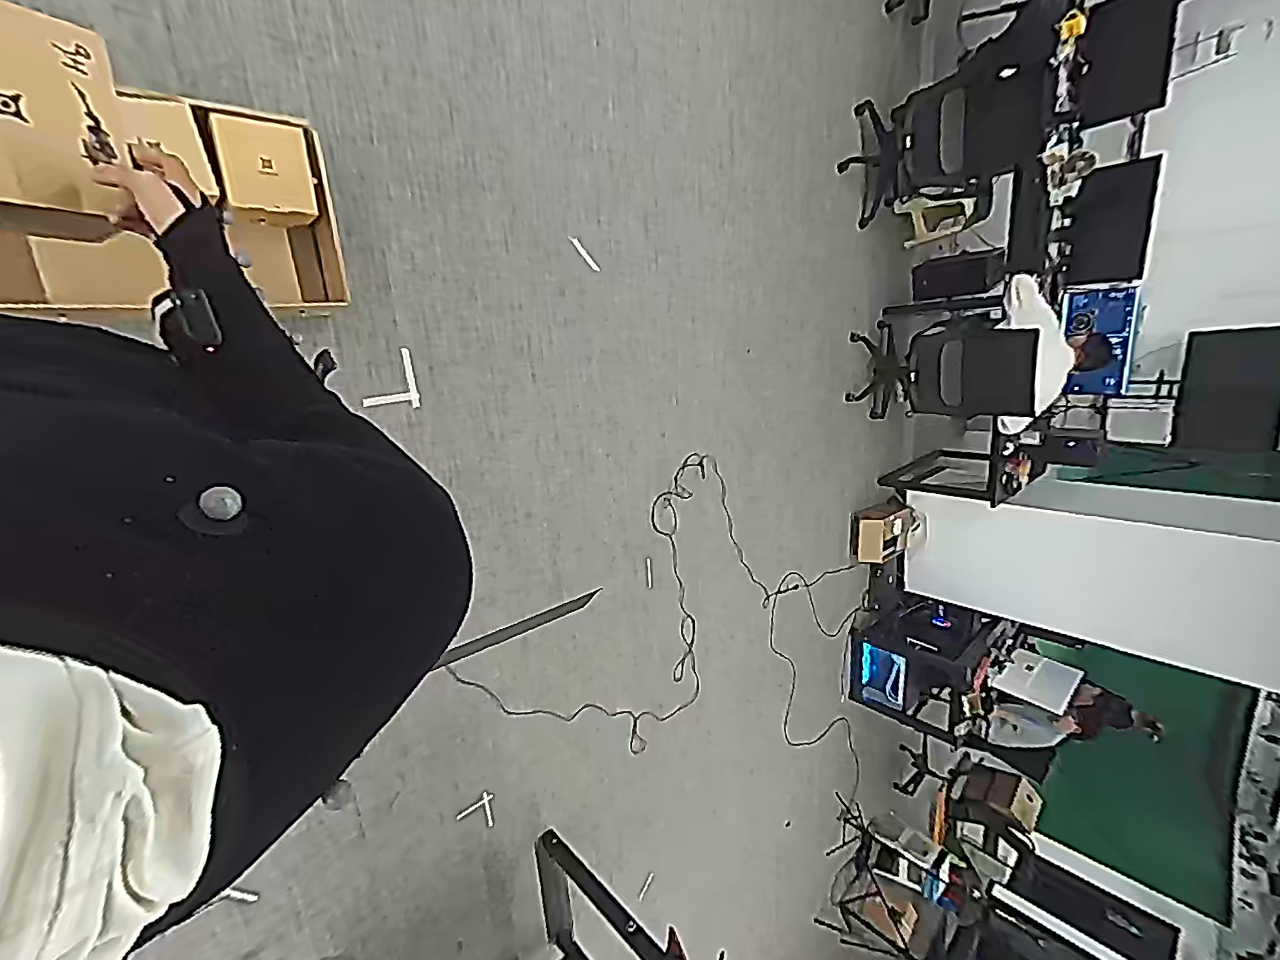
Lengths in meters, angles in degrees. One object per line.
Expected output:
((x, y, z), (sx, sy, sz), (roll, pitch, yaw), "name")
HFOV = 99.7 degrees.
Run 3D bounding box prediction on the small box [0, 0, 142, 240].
((-0.613, -0.329, 0.500), (0.179, 0.176, 0.168), (-20, 113, -52), "small box")
